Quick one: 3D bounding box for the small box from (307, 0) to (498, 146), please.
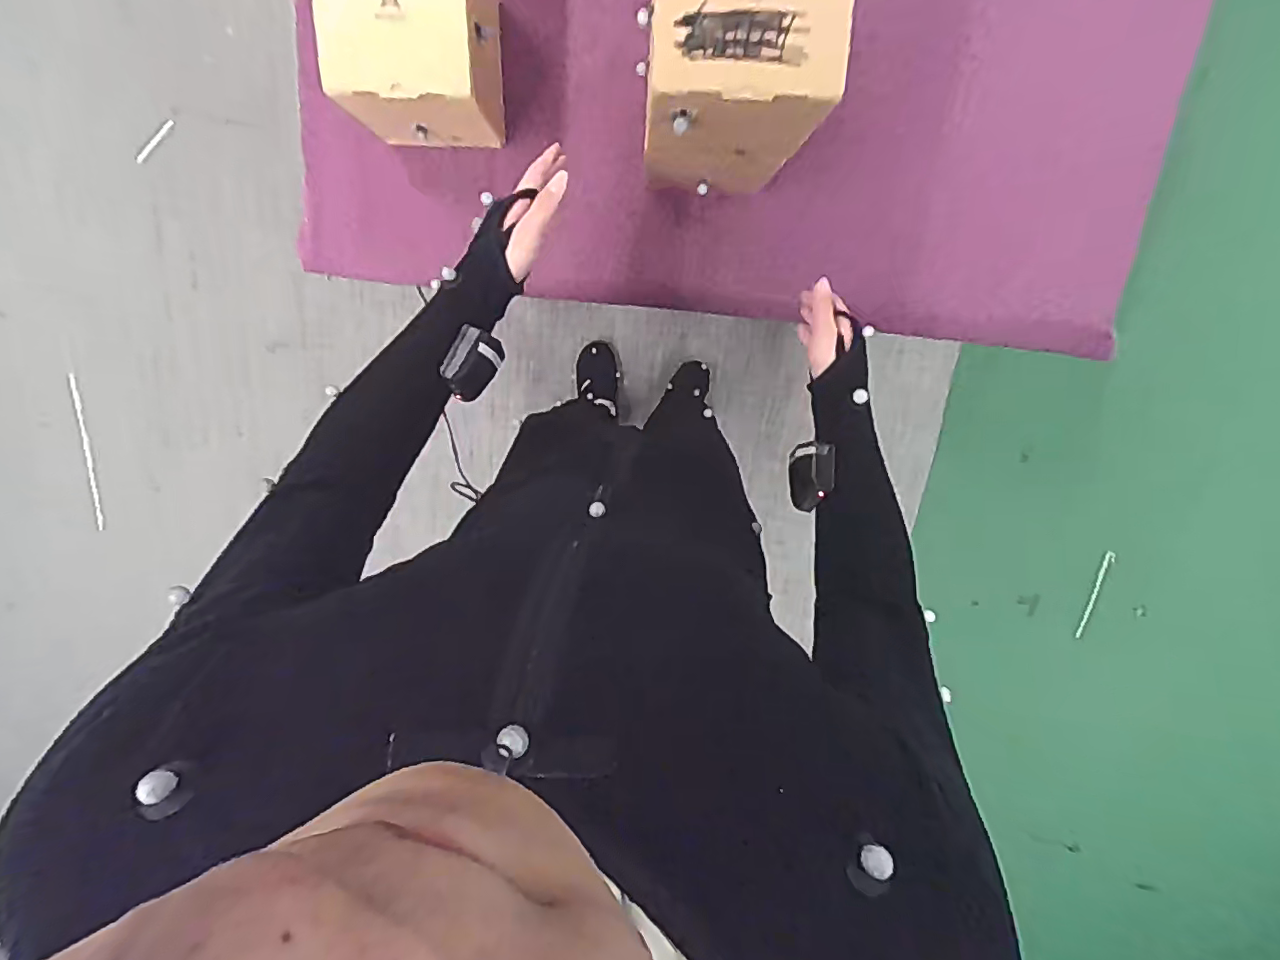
[{"bbox_3d":[-0.273,-0.530,0.650,0.168,0.176,0.179,0,106,-2],"label":"small box"}]

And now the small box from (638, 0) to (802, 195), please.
[{"bbox_3d":[0.086,-0.476,0.670,0.168,0.176,0.179,4,106,-2],"label":"small box"}]
